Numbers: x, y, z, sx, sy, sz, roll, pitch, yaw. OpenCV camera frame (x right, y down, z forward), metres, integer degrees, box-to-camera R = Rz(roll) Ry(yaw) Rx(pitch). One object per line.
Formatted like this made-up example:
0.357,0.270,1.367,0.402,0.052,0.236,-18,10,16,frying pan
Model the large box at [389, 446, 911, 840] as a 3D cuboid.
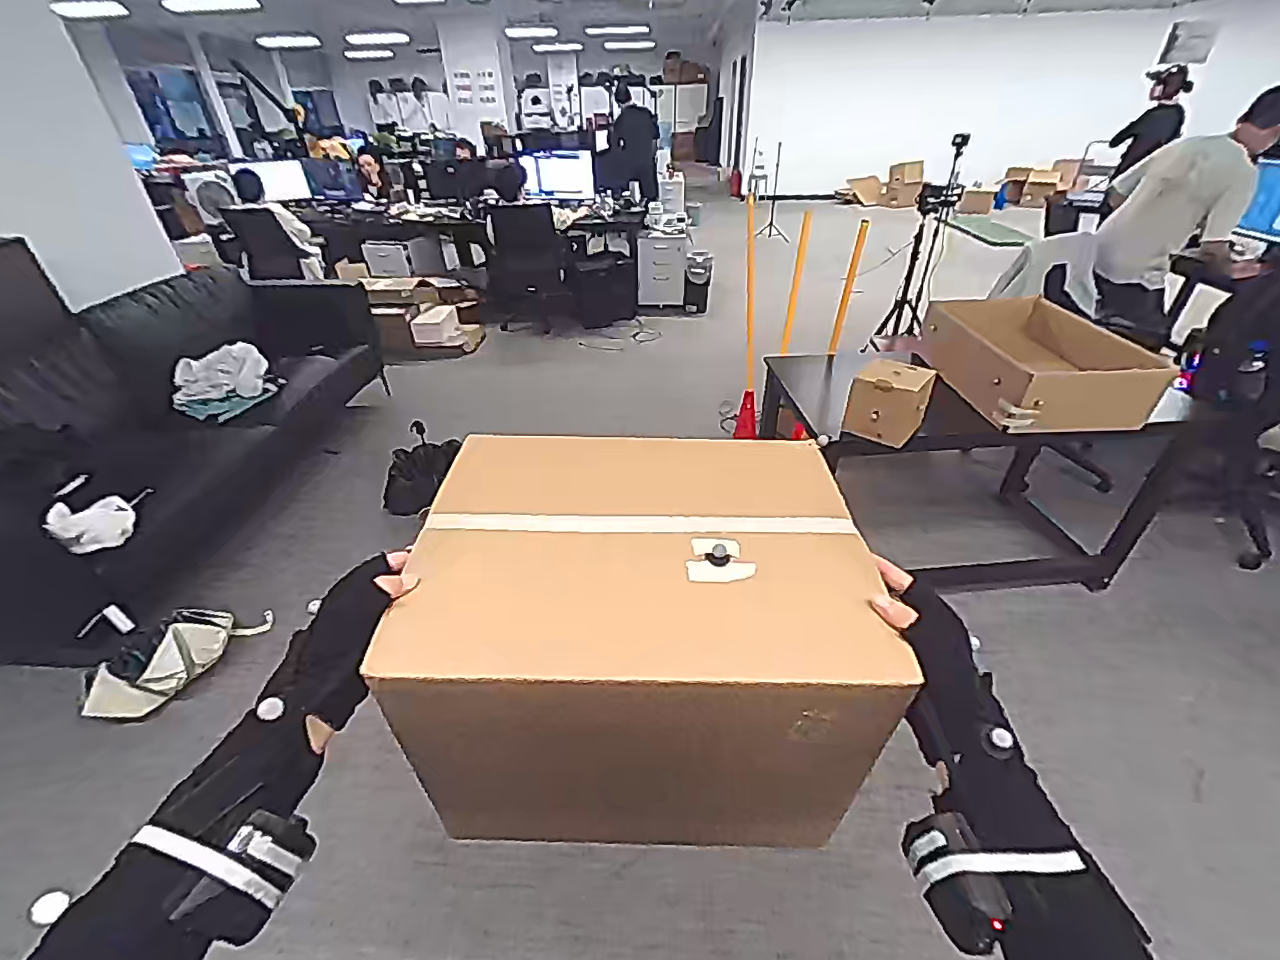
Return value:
0.002,0.173,0.610,0.408,0.320,0.320,1,38,-1,large box
